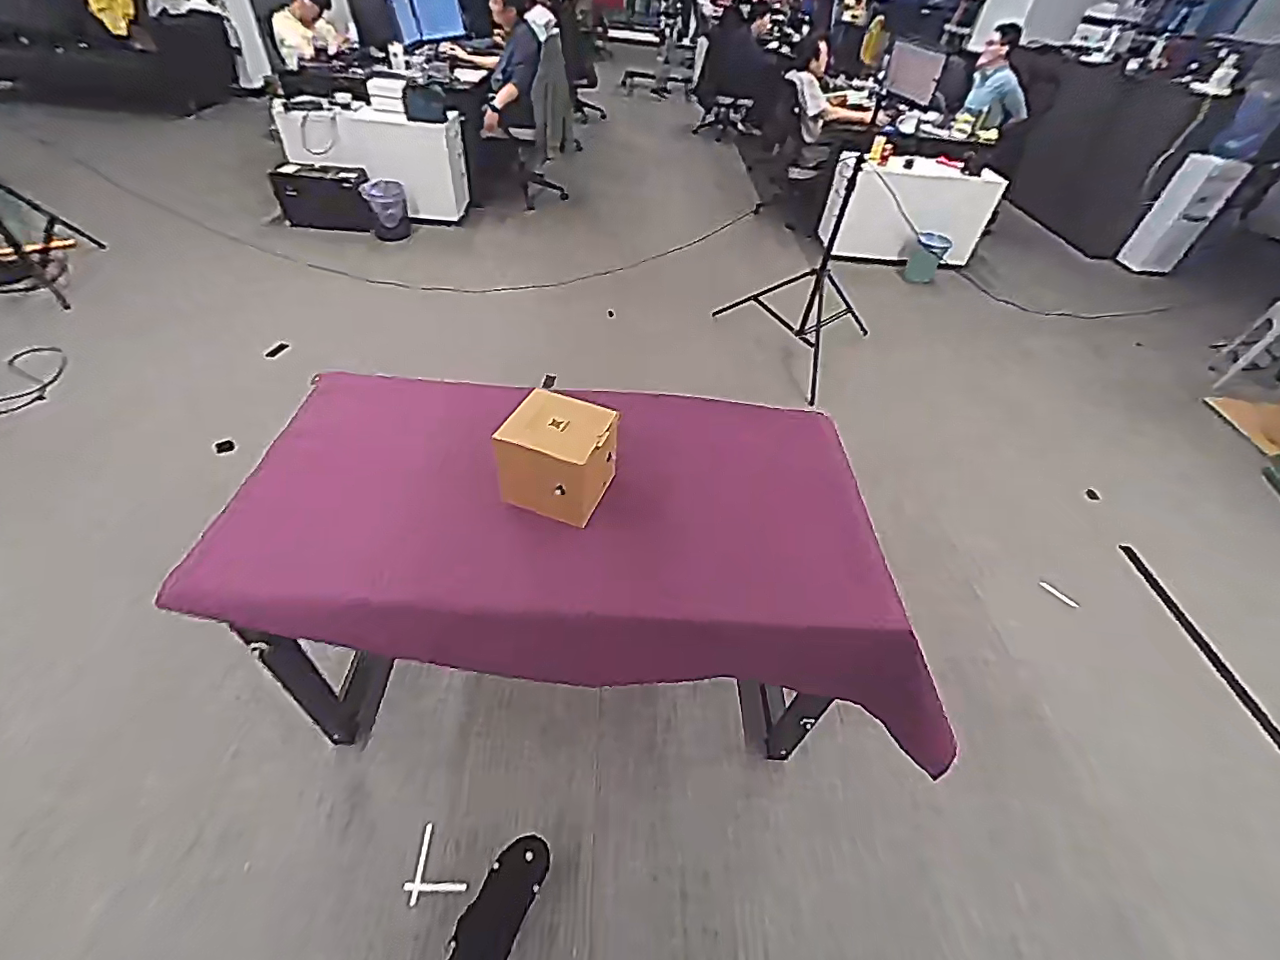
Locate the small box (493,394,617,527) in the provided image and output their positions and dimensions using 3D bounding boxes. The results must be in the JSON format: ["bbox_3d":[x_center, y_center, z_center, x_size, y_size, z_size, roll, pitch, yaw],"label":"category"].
[{"bbox_3d":[-0.155,-0.034,1.032,0.179,0.176,0.168,16,44,11],"label":"small box"}]
